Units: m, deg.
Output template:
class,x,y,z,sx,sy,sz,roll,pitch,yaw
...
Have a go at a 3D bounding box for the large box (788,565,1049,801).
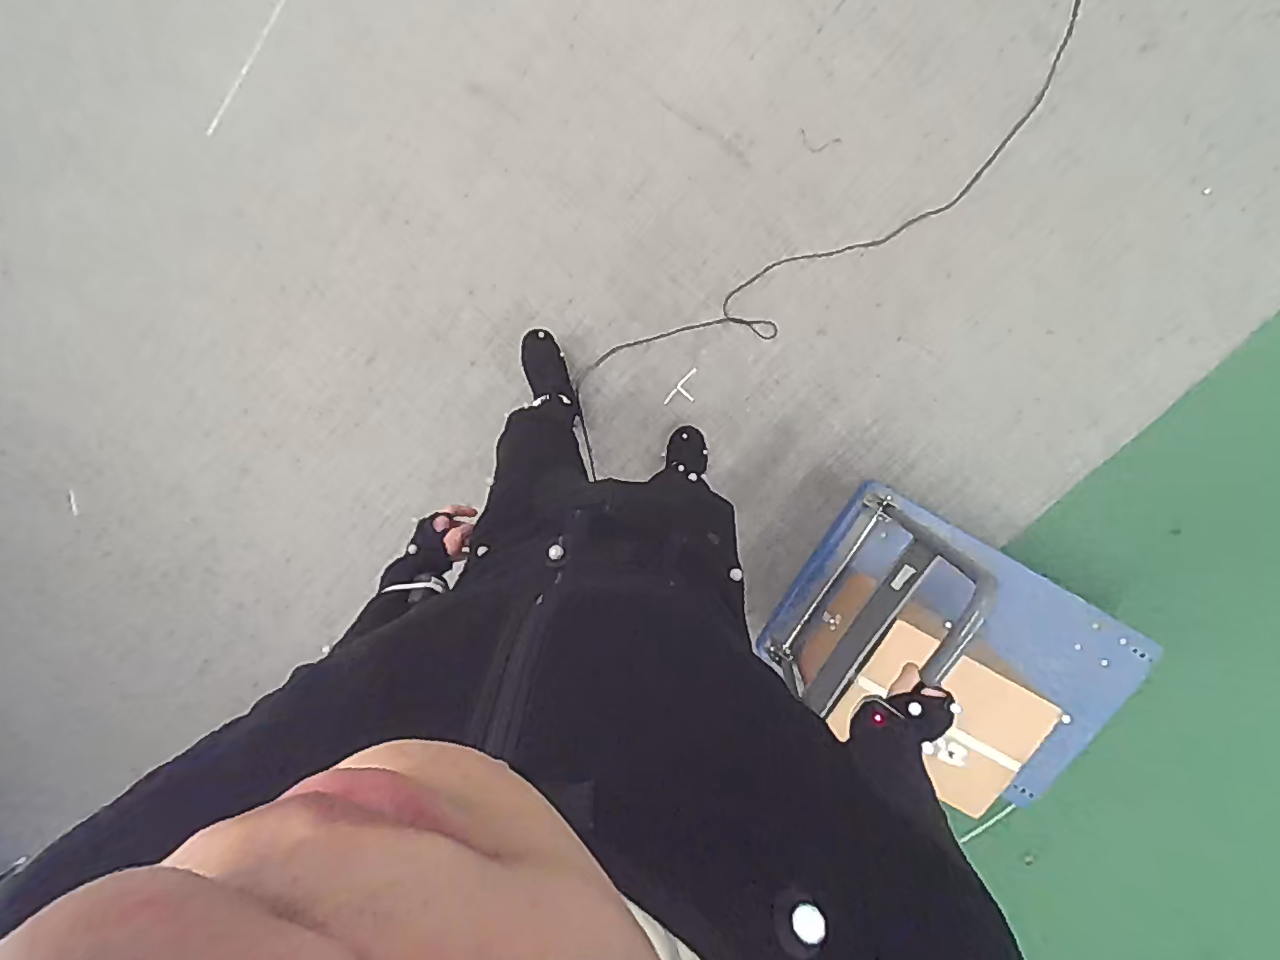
class,x,y,z,sx,sy,sz,roll,pitch,yaw
large box,0.634,0.468,1.316,0.408,0.320,0.320,29,103,-1
